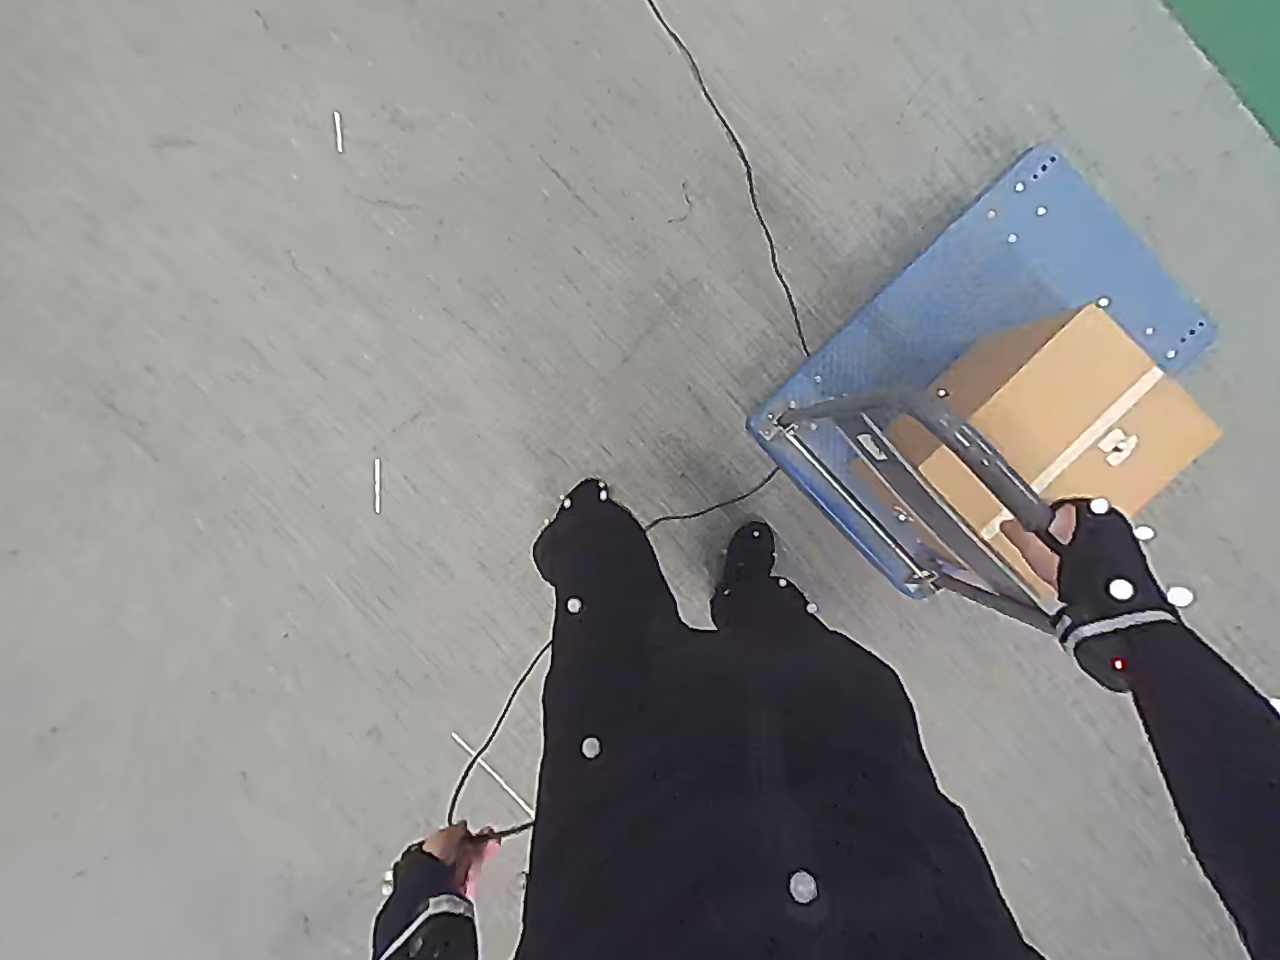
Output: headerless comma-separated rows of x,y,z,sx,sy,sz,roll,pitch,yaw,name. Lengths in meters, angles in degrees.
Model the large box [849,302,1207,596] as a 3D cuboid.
0.698,-0.055,1.049,0.320,0.320,0.408,44,93,-3,large box
